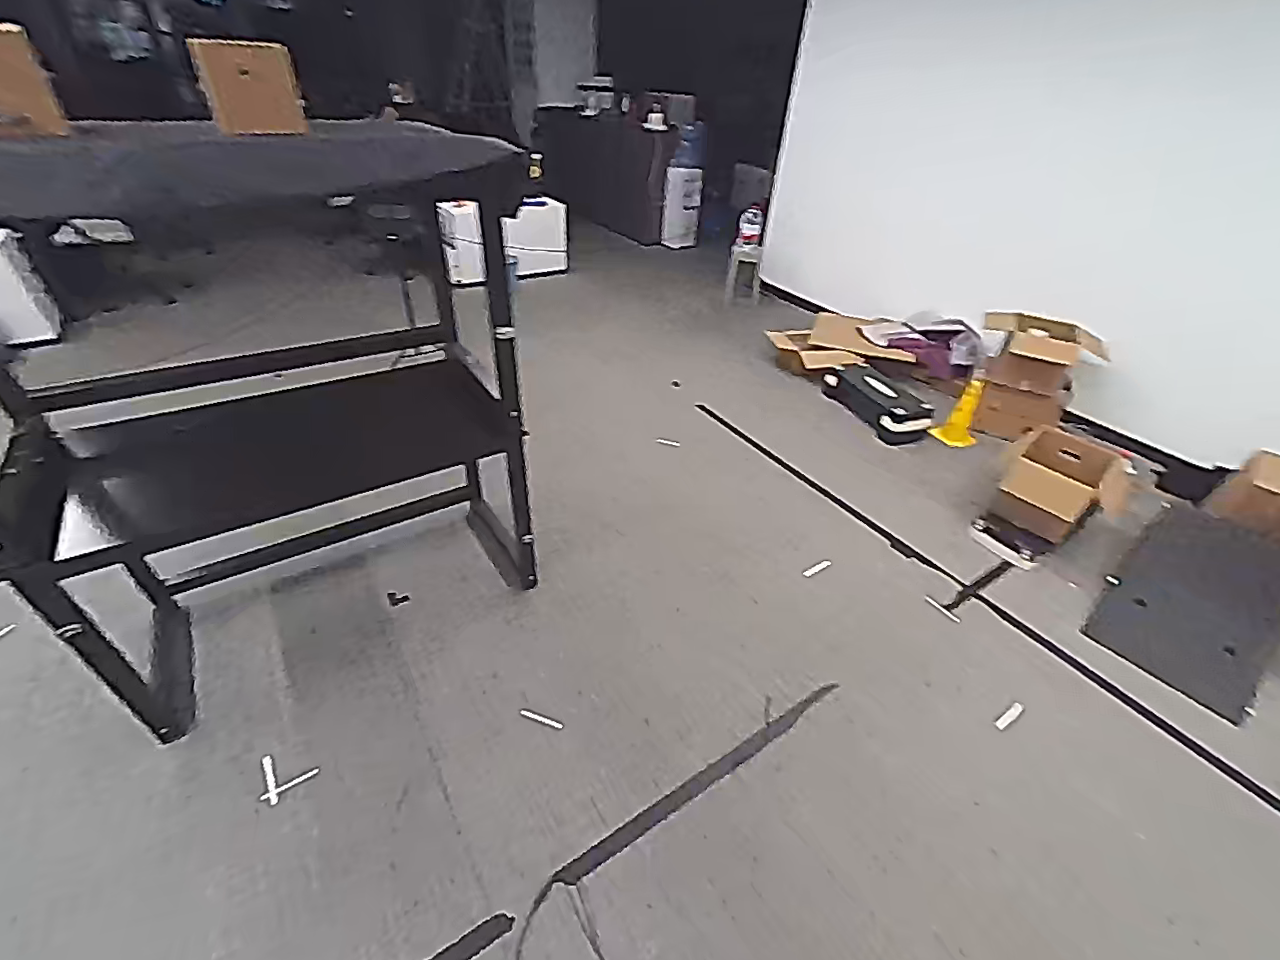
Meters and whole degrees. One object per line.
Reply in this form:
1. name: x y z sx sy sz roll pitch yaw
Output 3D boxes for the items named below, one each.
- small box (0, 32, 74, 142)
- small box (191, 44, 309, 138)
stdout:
1. small box: -1.256 -0.765 1.051 0.168 0.176 0.179 -27 47 -32
2. small box: -0.912 -0.911 1.270 0.179 0.176 0.168 -20 44 -28
